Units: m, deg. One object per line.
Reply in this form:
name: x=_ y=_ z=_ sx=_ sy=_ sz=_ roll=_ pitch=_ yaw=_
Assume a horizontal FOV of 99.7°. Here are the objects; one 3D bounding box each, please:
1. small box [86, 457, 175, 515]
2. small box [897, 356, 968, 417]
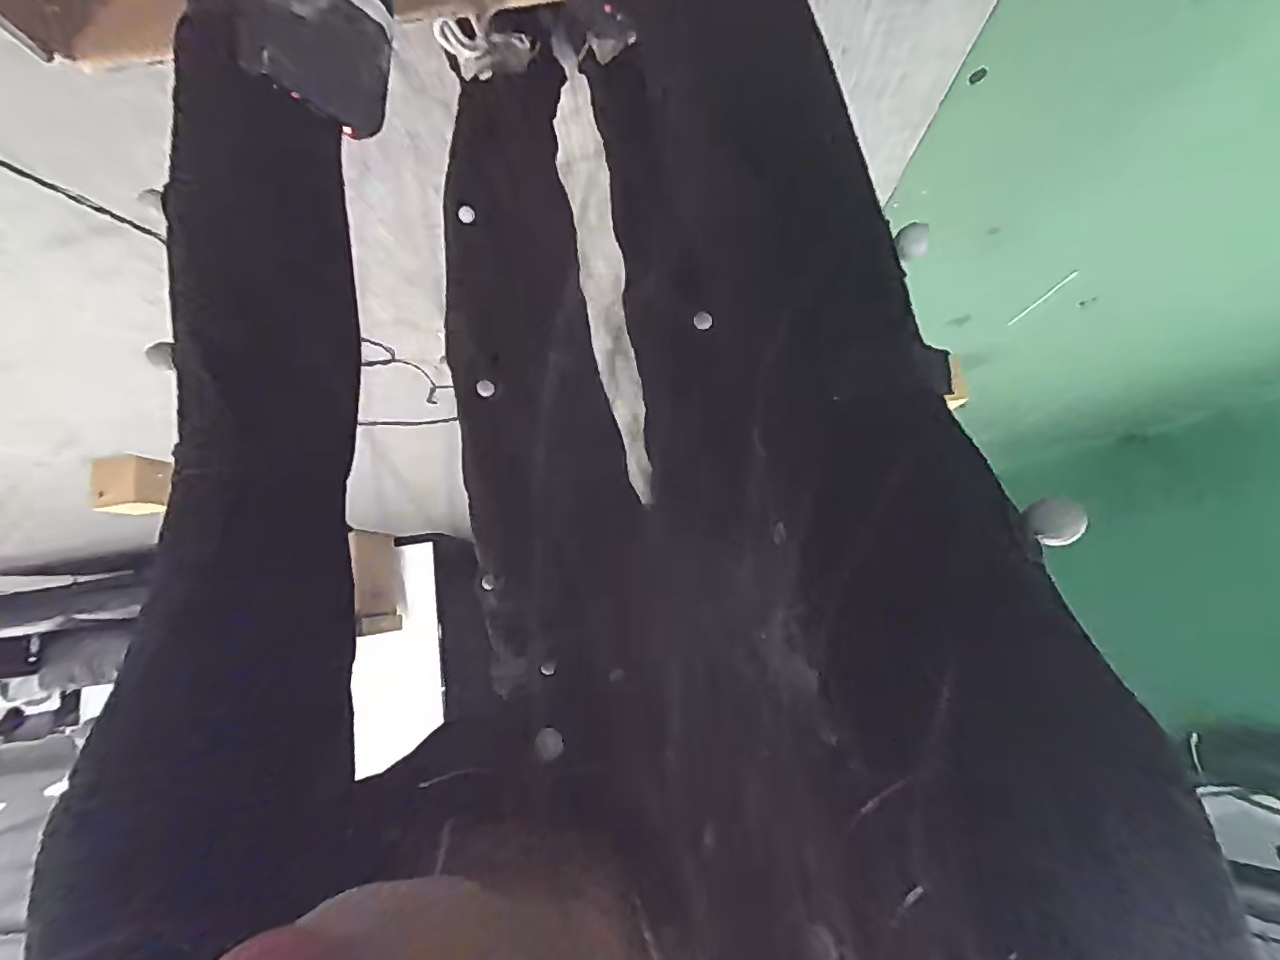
small box: x=-1.800 y=0.023 z=1.920 sx=0.179 sy=0.176 sz=0.168 roll=-9 pitch=170 yaw=5
small box: x=1.084 y=-0.348 z=2.019 sx=0.168 sy=0.176 sz=0.179 roll=-8 pitch=169 yaw=2
